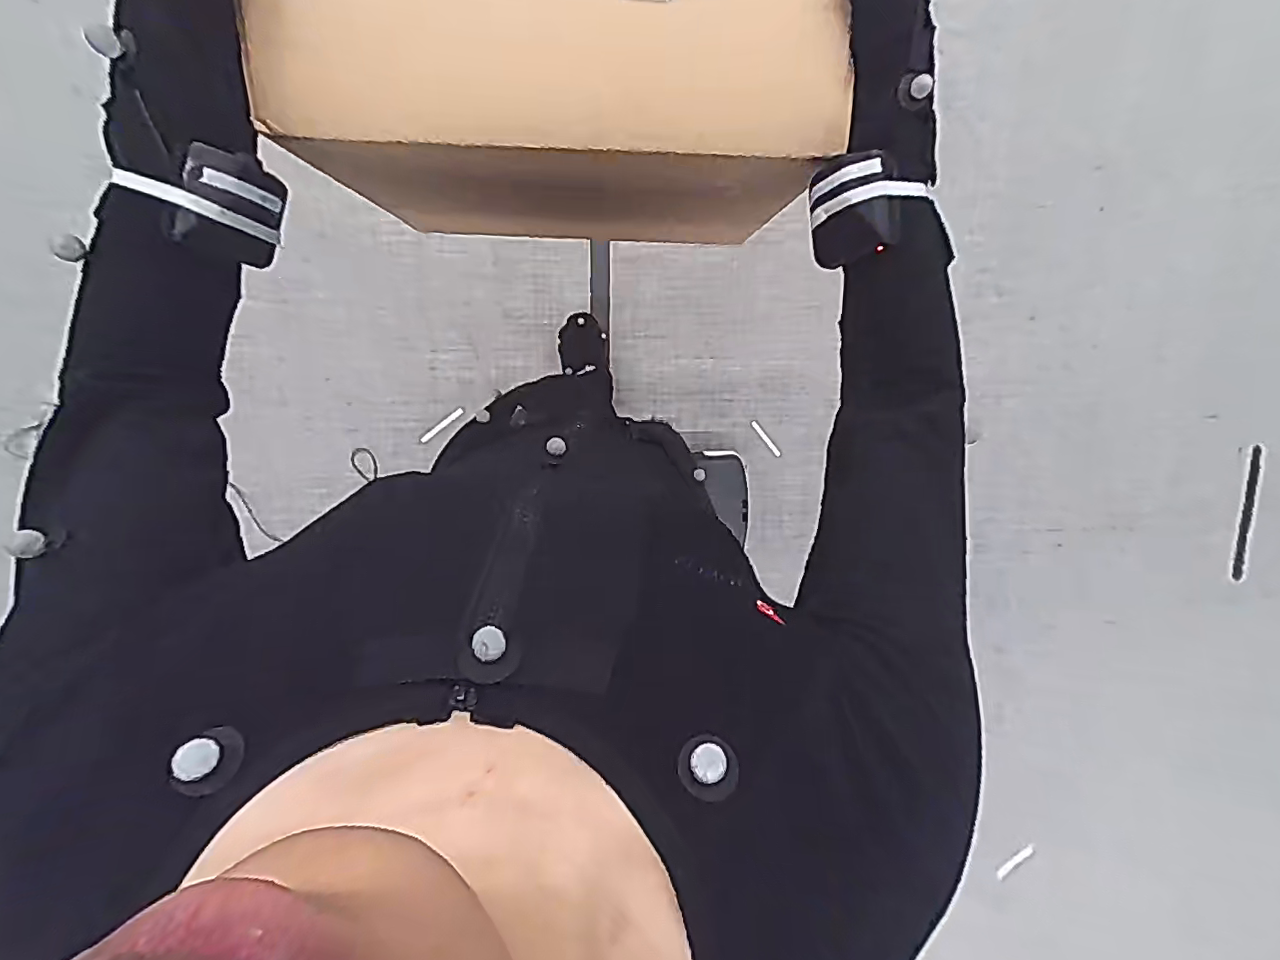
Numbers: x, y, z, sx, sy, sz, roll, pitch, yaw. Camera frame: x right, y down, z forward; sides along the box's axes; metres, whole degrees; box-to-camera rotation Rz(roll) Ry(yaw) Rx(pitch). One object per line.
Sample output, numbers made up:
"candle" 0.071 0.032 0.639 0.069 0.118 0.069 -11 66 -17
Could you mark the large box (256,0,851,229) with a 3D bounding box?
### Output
"large box" -0.061 -0.428 0.489 0.408 0.320 0.320 0 104 -3
